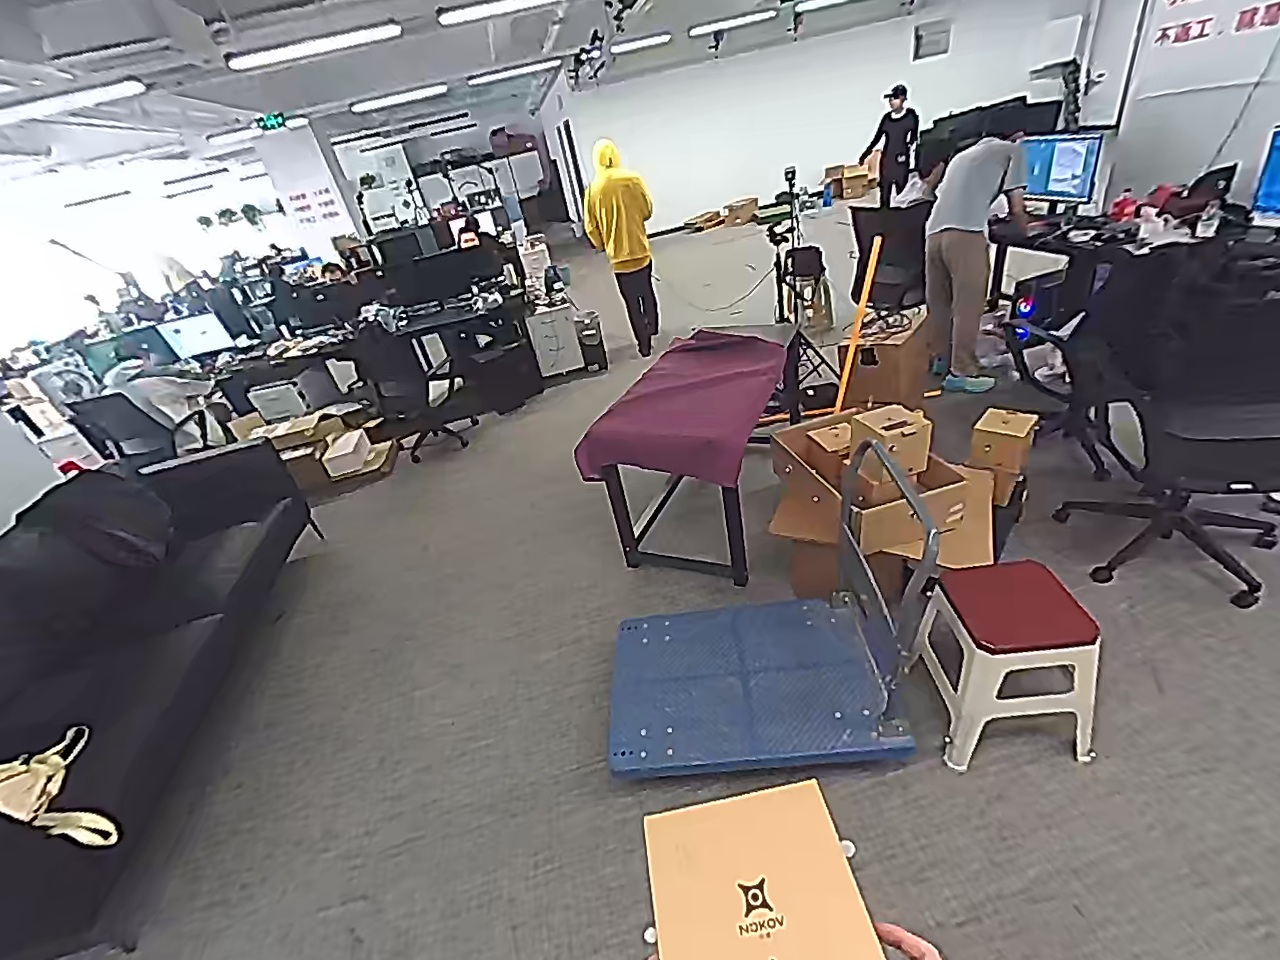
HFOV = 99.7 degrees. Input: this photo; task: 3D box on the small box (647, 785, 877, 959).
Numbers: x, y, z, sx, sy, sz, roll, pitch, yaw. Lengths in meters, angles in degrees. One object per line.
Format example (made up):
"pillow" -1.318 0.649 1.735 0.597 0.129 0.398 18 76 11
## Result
"small box" 0.106 0.412 0.482 0.168 0.176 0.179 -12 35 1
